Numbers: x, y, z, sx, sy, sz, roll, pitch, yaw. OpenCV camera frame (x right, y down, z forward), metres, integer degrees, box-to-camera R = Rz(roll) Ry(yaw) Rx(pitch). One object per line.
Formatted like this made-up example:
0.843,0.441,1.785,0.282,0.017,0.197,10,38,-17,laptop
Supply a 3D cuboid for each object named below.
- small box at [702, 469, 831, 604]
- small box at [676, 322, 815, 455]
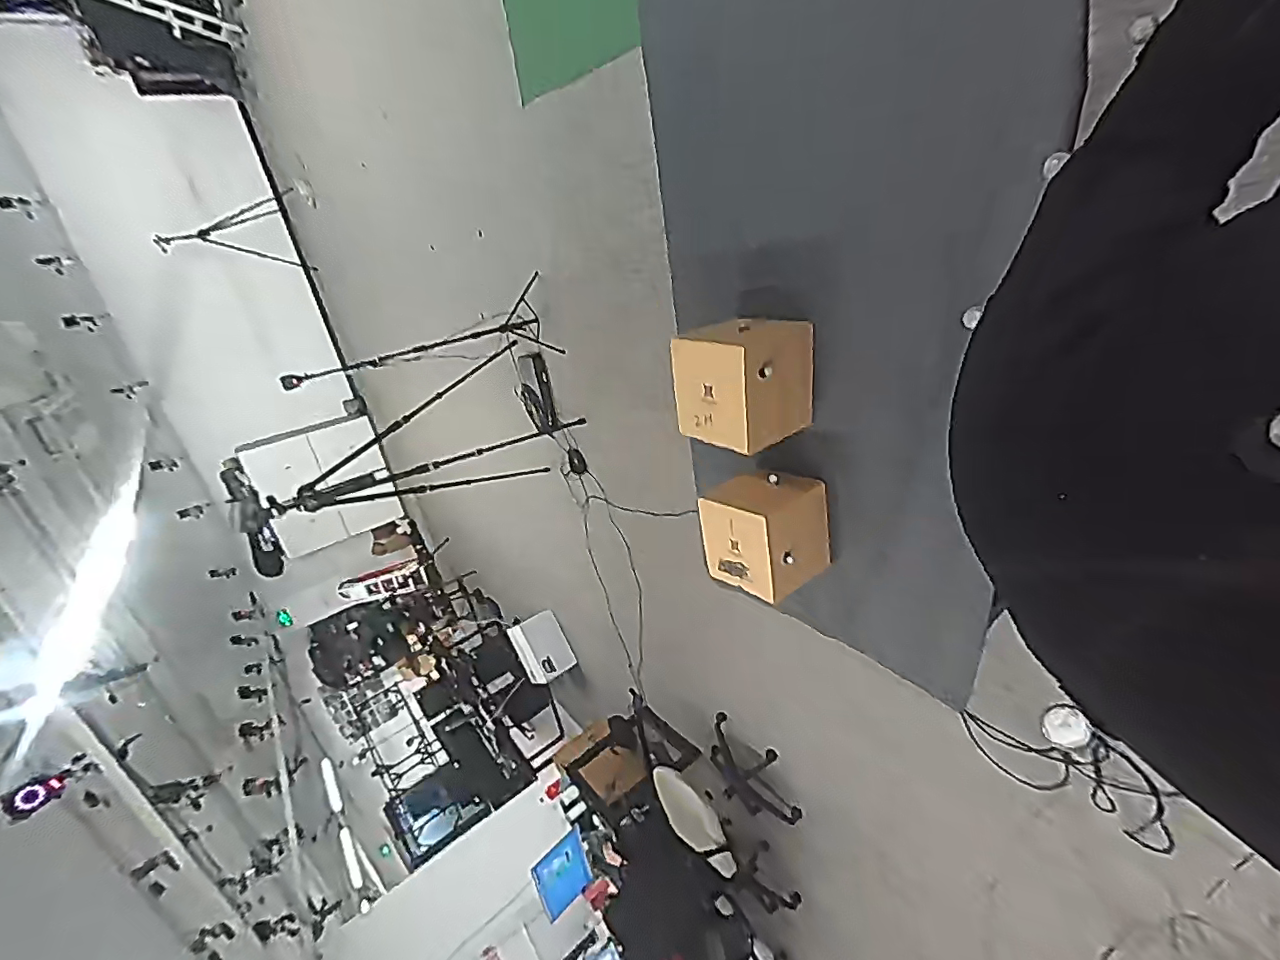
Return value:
0.244,0.098,1.025,0.168,0.176,0.179,17,124,51,small box
0.184,-0.167,0.929,0.168,0.176,0.179,24,130,48,small box
